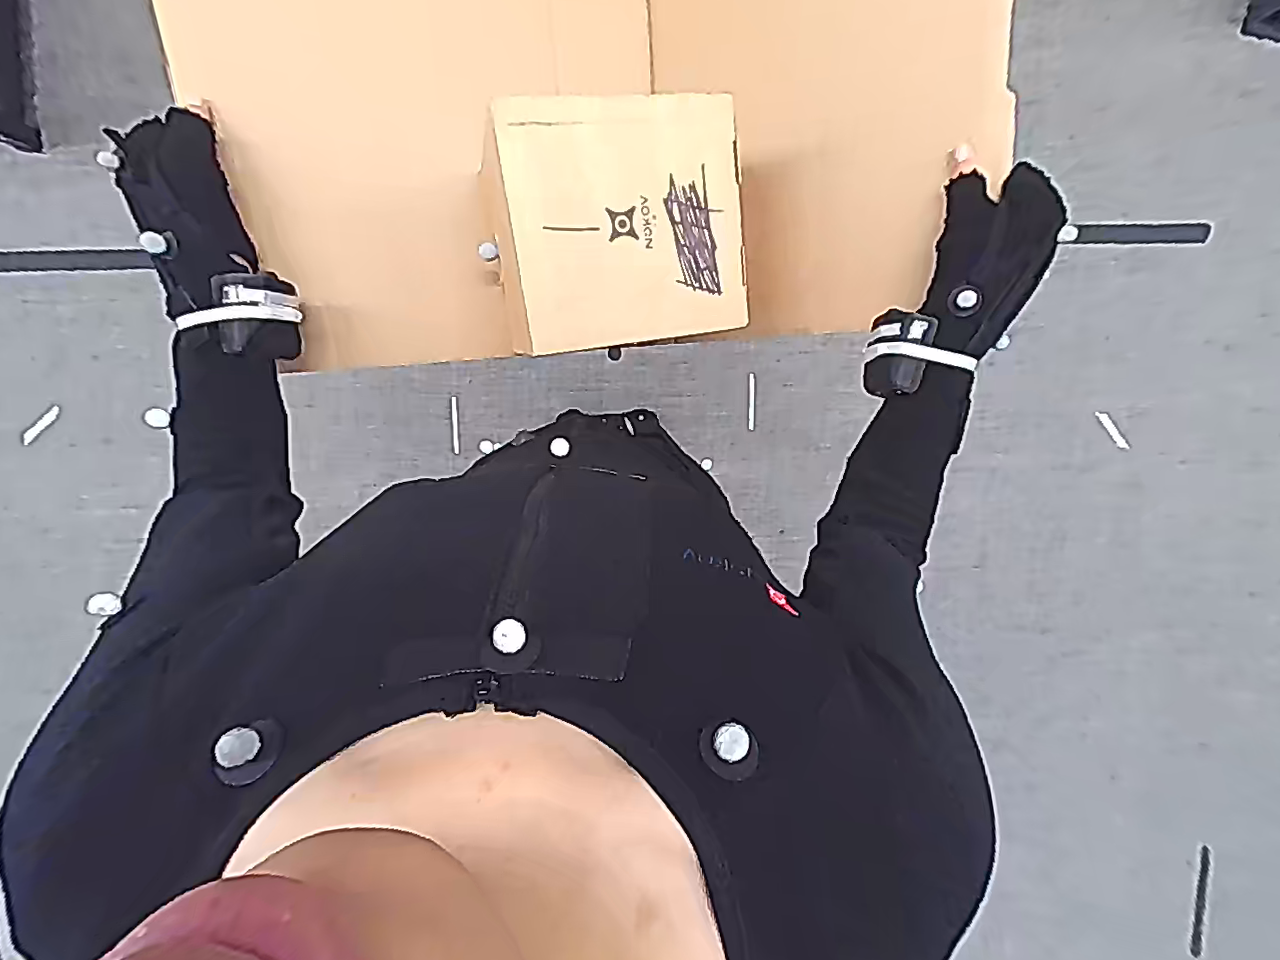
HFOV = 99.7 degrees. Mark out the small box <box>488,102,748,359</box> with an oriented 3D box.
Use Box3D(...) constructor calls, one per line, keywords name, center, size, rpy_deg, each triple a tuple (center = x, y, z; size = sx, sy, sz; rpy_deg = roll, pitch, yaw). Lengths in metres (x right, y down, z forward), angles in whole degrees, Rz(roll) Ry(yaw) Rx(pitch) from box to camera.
Box3D(name="small box", center=(-0.026, -0.202, 0.469), size=(0.179, 0.176, 0.168), rpy_deg=(-12, 107, -14))
